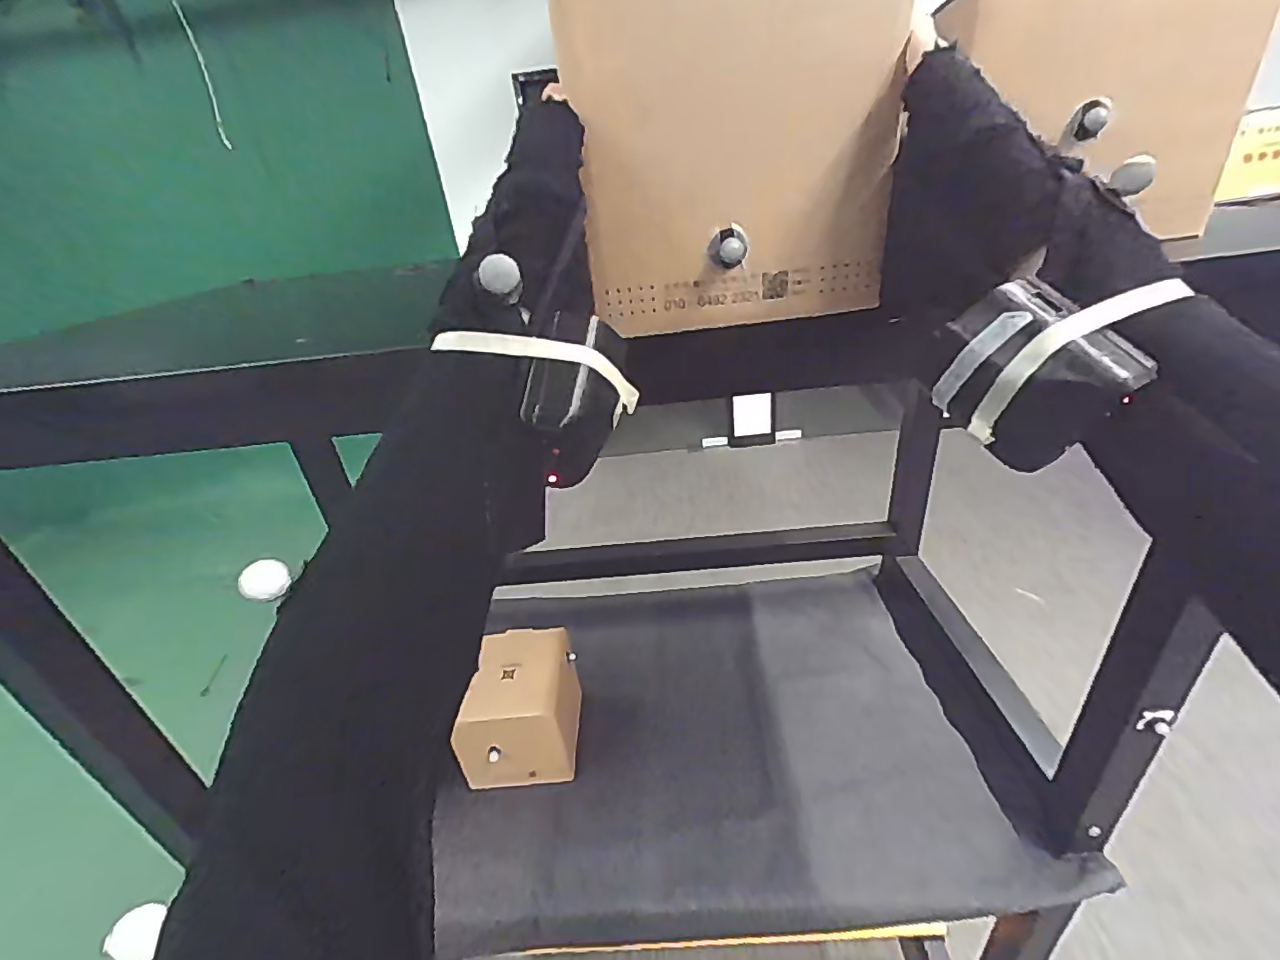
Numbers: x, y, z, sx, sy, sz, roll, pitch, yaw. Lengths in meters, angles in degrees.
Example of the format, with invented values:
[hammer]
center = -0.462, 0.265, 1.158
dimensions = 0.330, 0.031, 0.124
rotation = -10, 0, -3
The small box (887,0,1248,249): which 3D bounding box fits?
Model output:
[small box]
center = 0.300, -0.280, 0.418
dimensions = 0.168, 0.176, 0.179
rotation = 0, 29, 13
